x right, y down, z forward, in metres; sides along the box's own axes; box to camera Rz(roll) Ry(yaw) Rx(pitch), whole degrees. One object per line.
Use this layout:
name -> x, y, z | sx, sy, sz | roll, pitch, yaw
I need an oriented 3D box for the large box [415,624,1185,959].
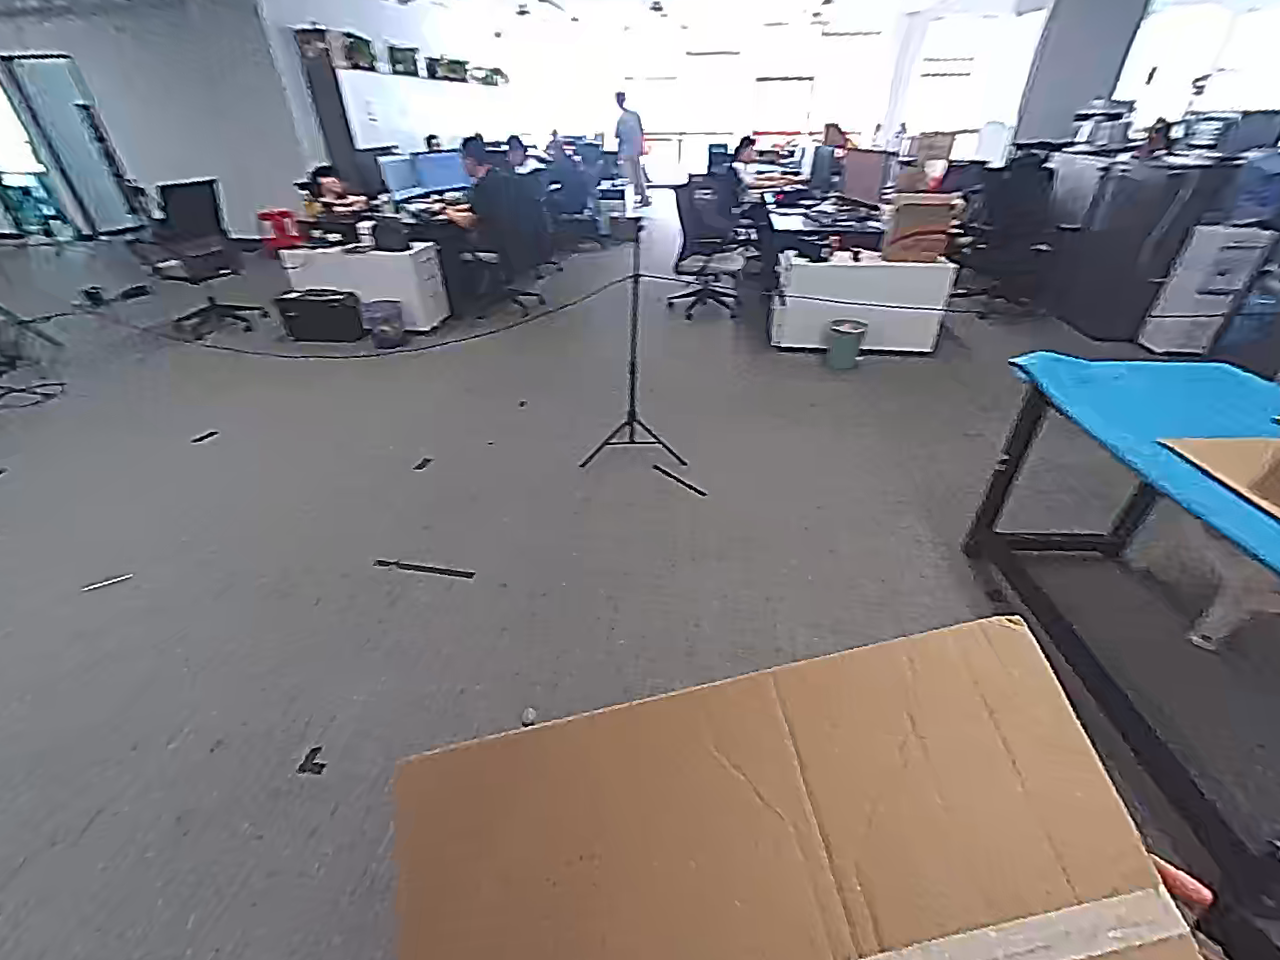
large box -> 0.092, 0.339, 0.415 | 0.408, 0.320, 0.320 | -13, 65, -2
